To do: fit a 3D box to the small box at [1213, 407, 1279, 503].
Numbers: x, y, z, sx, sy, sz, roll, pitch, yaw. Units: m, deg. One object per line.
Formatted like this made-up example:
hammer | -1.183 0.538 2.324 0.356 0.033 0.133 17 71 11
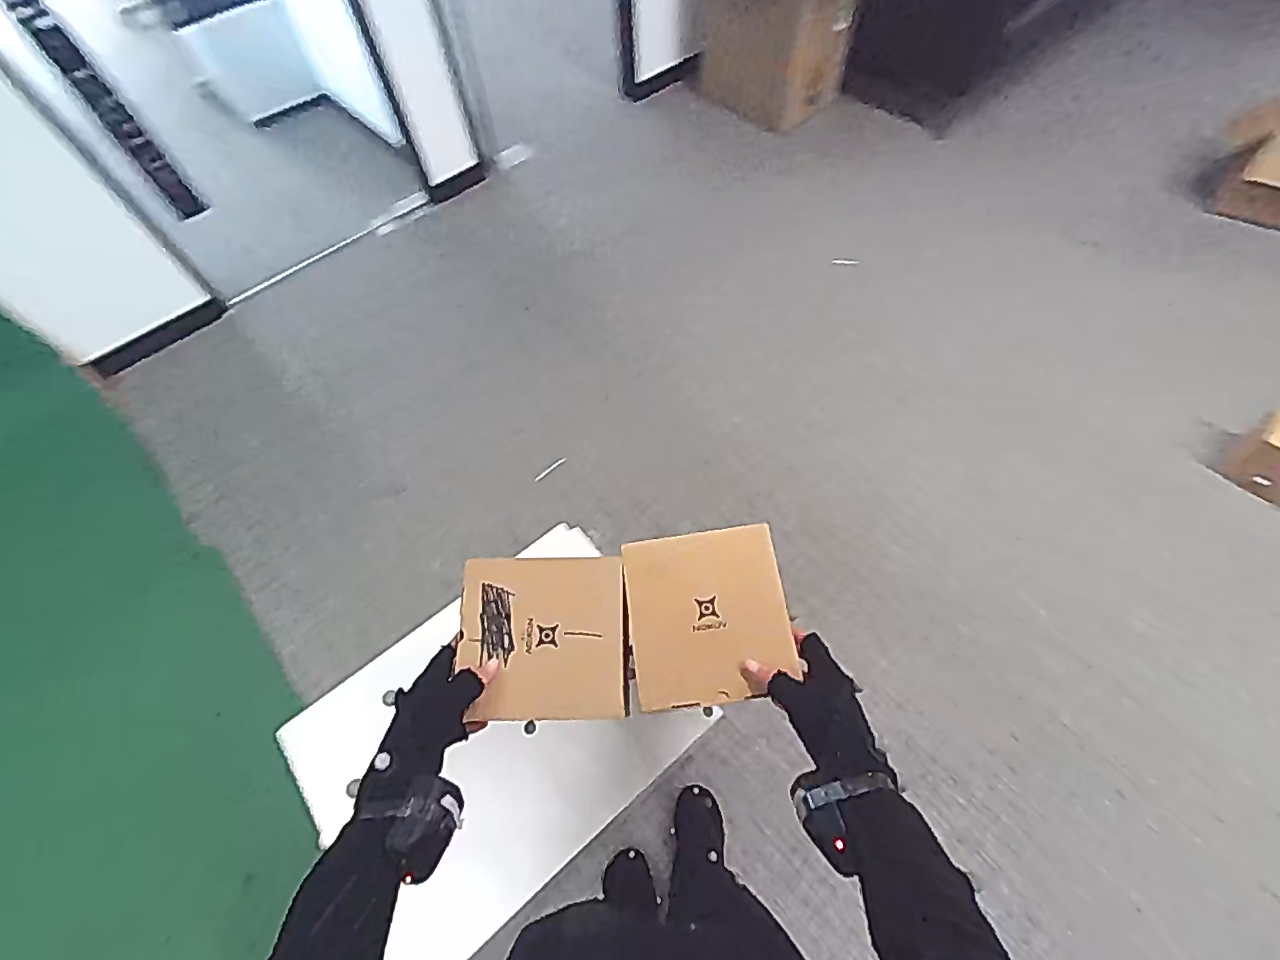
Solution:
small box | 1.790 -0.069 1.518 0.179 0.176 0.168 -41 65 -19
